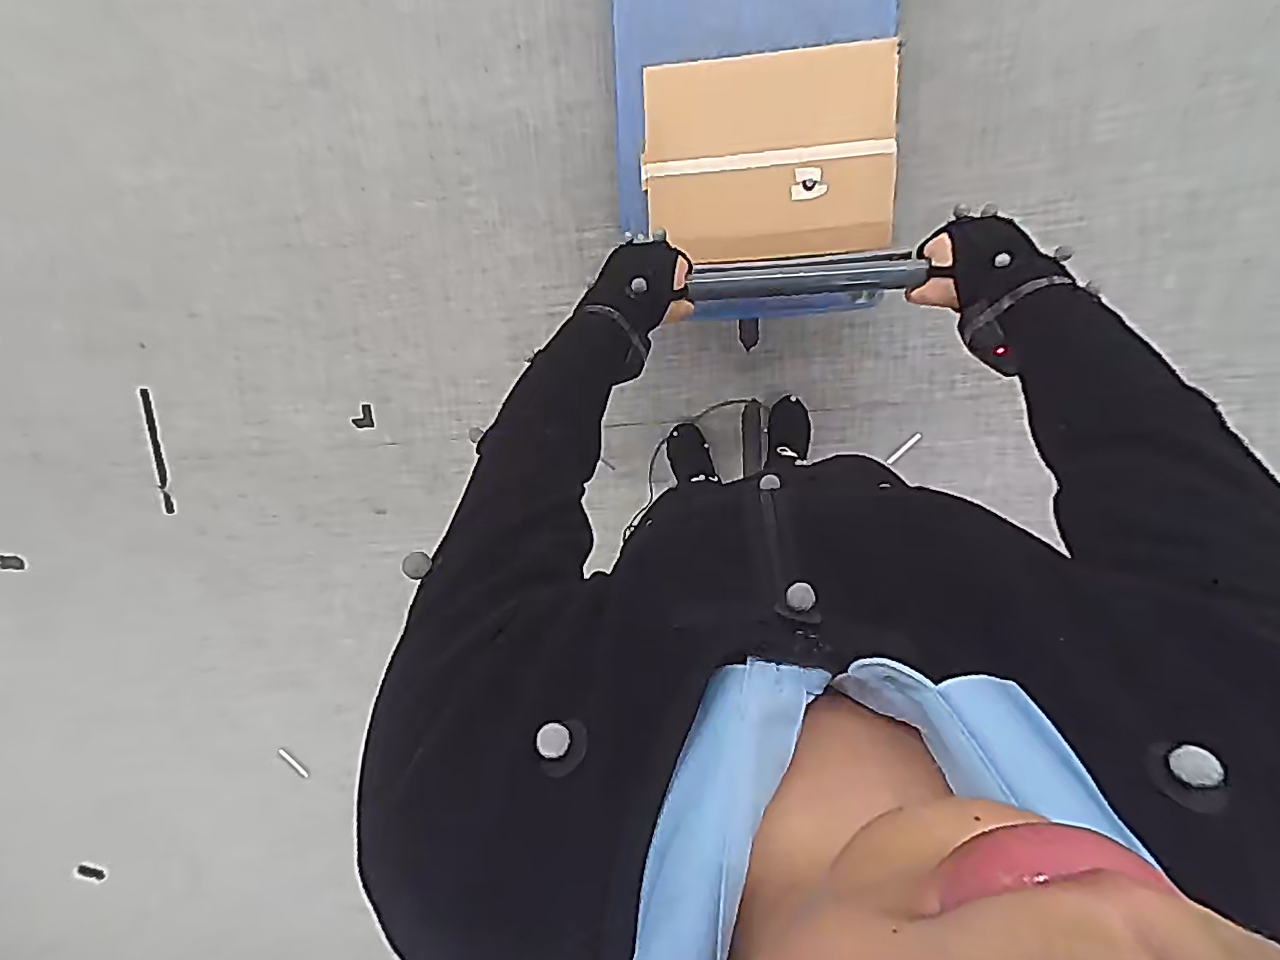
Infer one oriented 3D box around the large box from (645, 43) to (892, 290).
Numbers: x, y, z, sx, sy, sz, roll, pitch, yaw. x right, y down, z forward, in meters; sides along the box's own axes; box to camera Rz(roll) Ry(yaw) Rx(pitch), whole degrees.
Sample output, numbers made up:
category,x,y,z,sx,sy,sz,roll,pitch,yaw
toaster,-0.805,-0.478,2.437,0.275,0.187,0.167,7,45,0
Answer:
category,x,y,z,sx,sy,sz,roll,pitch,yaw
large box,0.229,-0.568,1.058,0.408,0.320,0.320,-2,102,6
